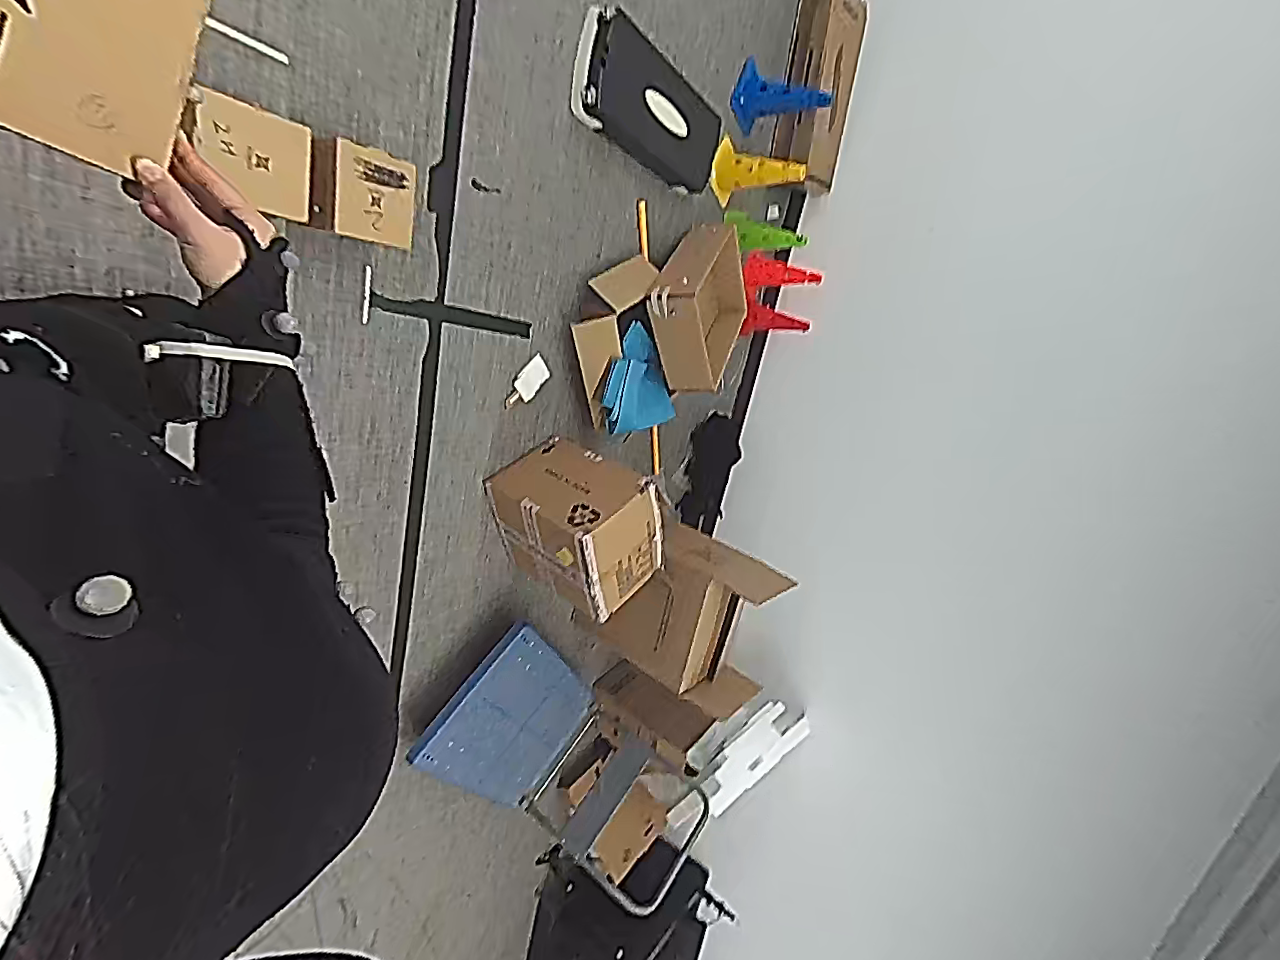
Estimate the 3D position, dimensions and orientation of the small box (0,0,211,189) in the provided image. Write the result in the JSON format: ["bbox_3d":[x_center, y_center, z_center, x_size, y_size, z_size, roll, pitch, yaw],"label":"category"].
[{"bbox_3d":[-0.405,-0.322,0.349,0.168,0.176,0.179,11,105,-50],"label":"small box"}]
